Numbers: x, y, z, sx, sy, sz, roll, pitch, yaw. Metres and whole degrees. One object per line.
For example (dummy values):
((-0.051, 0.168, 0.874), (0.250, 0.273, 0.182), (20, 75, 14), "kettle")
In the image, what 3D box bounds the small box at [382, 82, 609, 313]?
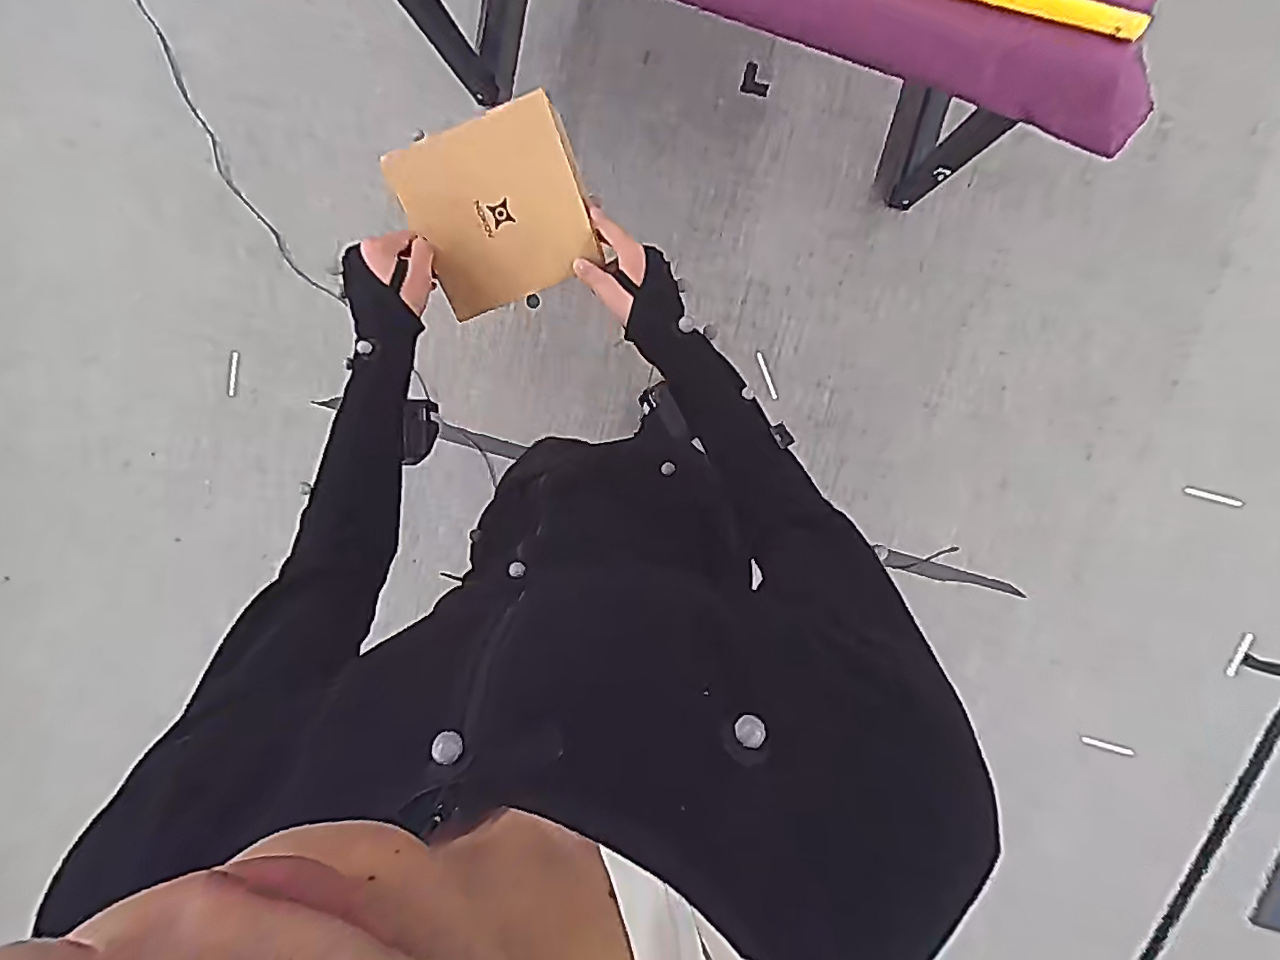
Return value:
((-0.143, -0.311, 0.608), (0.179, 0.176, 0.168), (-18, 117, 8), "small box")
